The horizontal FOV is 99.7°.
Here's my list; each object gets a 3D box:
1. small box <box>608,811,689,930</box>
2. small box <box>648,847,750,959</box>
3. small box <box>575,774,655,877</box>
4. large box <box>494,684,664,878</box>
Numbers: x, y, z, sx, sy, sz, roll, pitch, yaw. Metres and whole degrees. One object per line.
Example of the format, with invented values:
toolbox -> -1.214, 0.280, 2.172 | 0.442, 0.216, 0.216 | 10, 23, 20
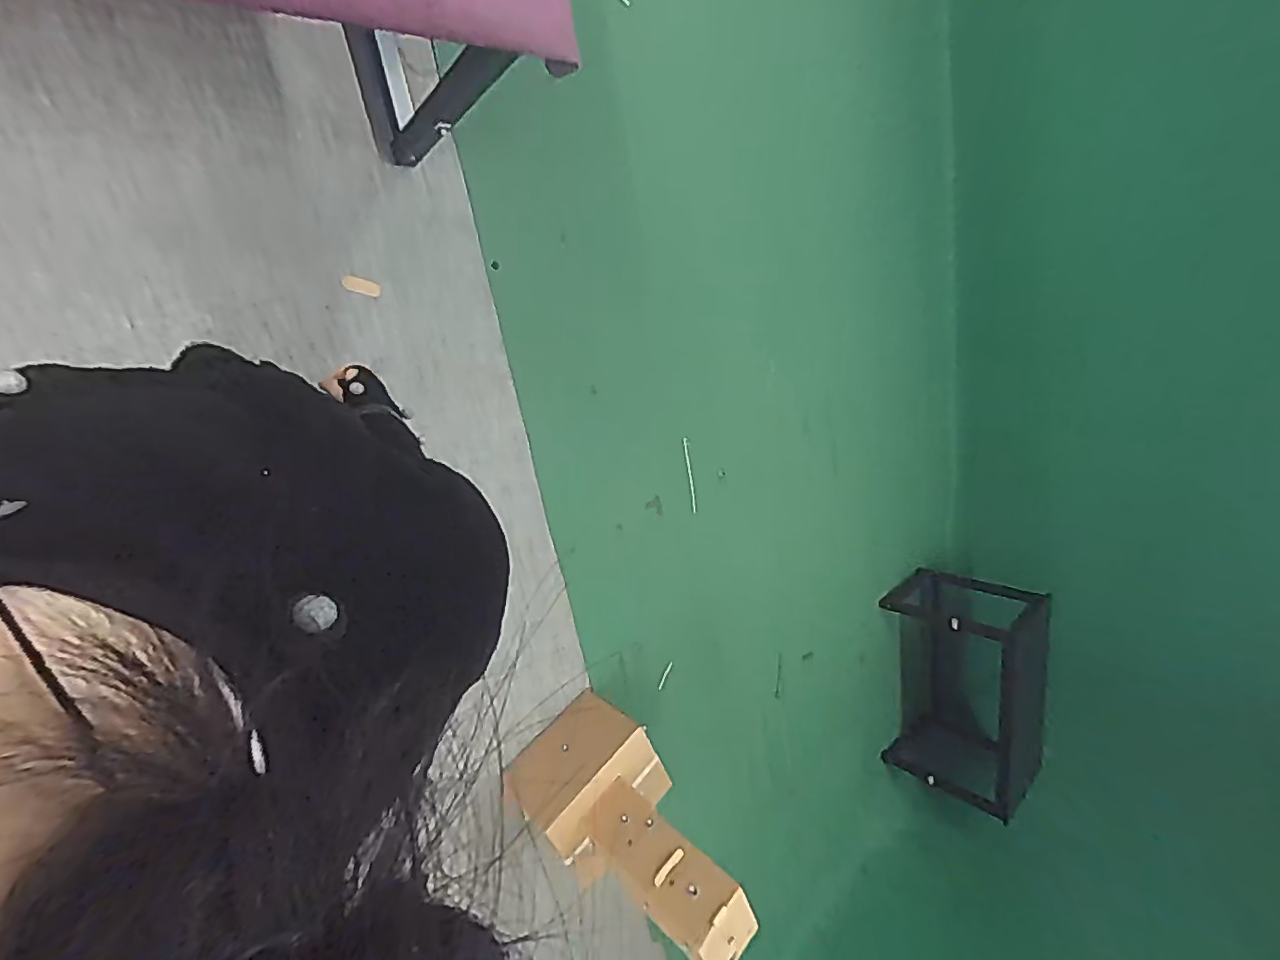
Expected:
small box -> 0.036, 1.051, 1.478 | 0.168, 0.176, 0.179 | -32, 115, -32
small box -> 0.144, 1.071, 1.355 | 0.168, 0.176, 0.179 | -33, 115, -31
small box -> -0.062, 1.023, 1.606 | 0.179, 0.176, 0.168 | -34, 116, -31
large box -> -0.200, 0.978, 1.805 | 0.408, 0.320, 0.320 | -38, 121, -31
